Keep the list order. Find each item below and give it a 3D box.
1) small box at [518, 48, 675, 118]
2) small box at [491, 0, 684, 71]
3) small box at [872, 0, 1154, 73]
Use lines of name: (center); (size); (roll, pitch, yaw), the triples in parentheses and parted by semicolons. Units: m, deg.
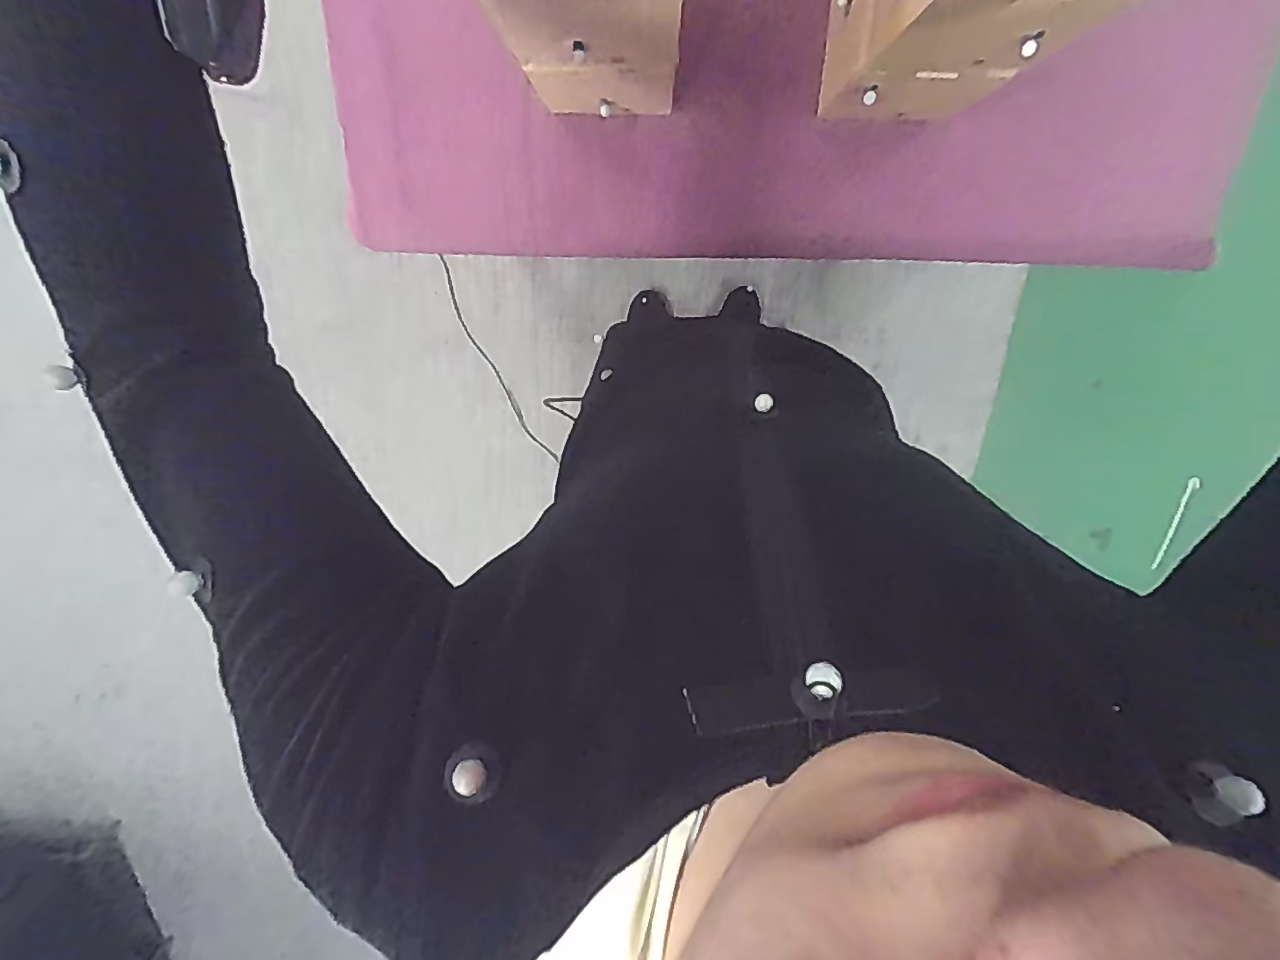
small box: (-0.041, -0.538, 0.614); (0.168, 0.176, 0.179); (2, 111, 2)
small box: (-0.046, -0.483, 0.461); (0.168, 0.176, 0.179); (0, 111, 1)
small box: (0.313, -0.469, 0.453); (0.168, 0.176, 0.179); (2, 110, 1)
